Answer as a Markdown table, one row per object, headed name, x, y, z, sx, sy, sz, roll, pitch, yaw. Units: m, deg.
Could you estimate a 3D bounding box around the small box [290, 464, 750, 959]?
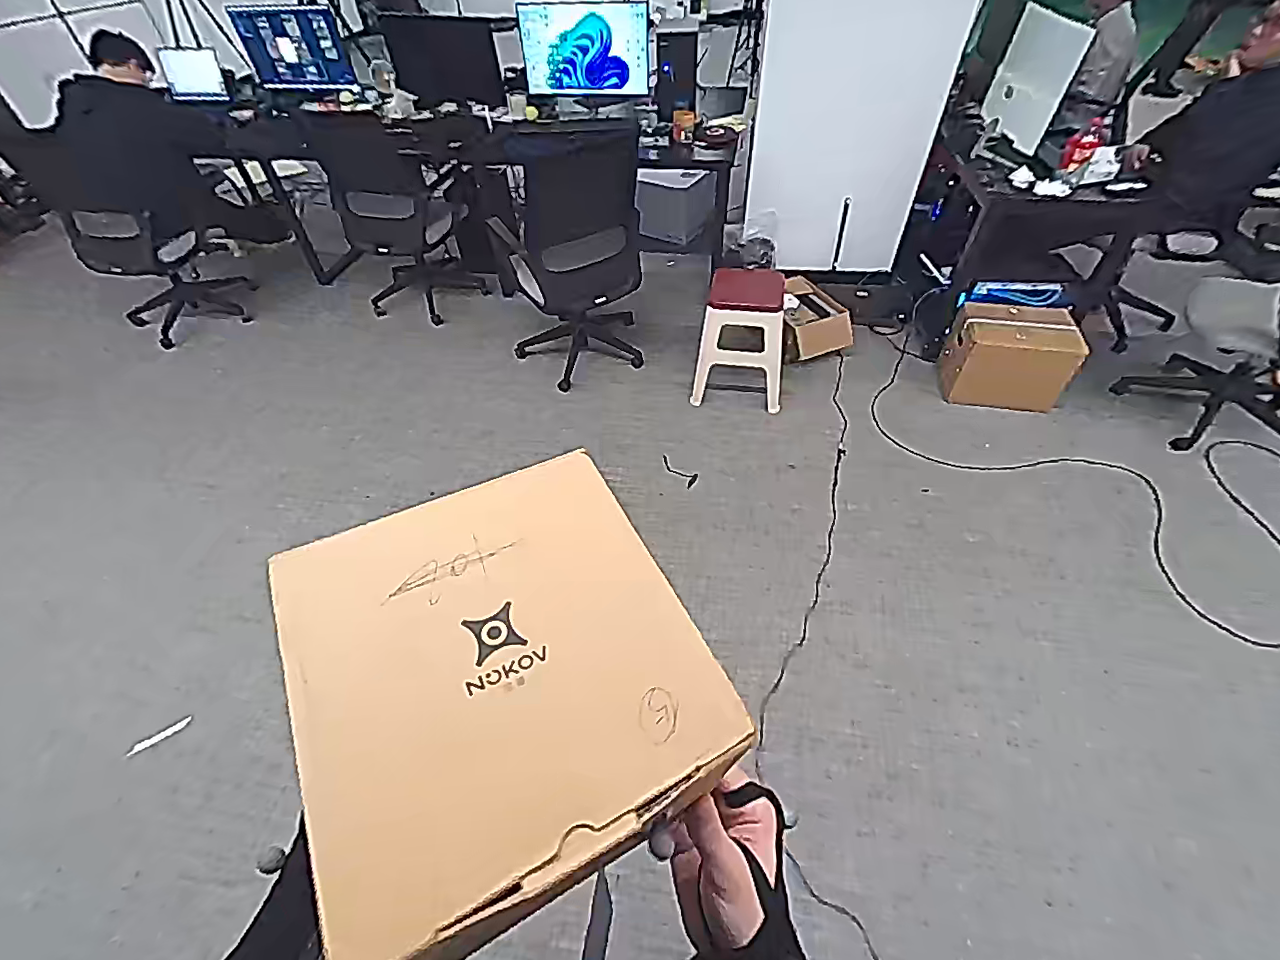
| name | x | y | z | sx | sy | sz | roll | pitch | yaw |
| --- | --- | --- | --- | --- | --- | --- | --- | --- | --- |
| small box | -0.066 | 0.128 | 0.313 | 0.168 | 0.176 | 0.179 | -22 | 55 | -22 |
